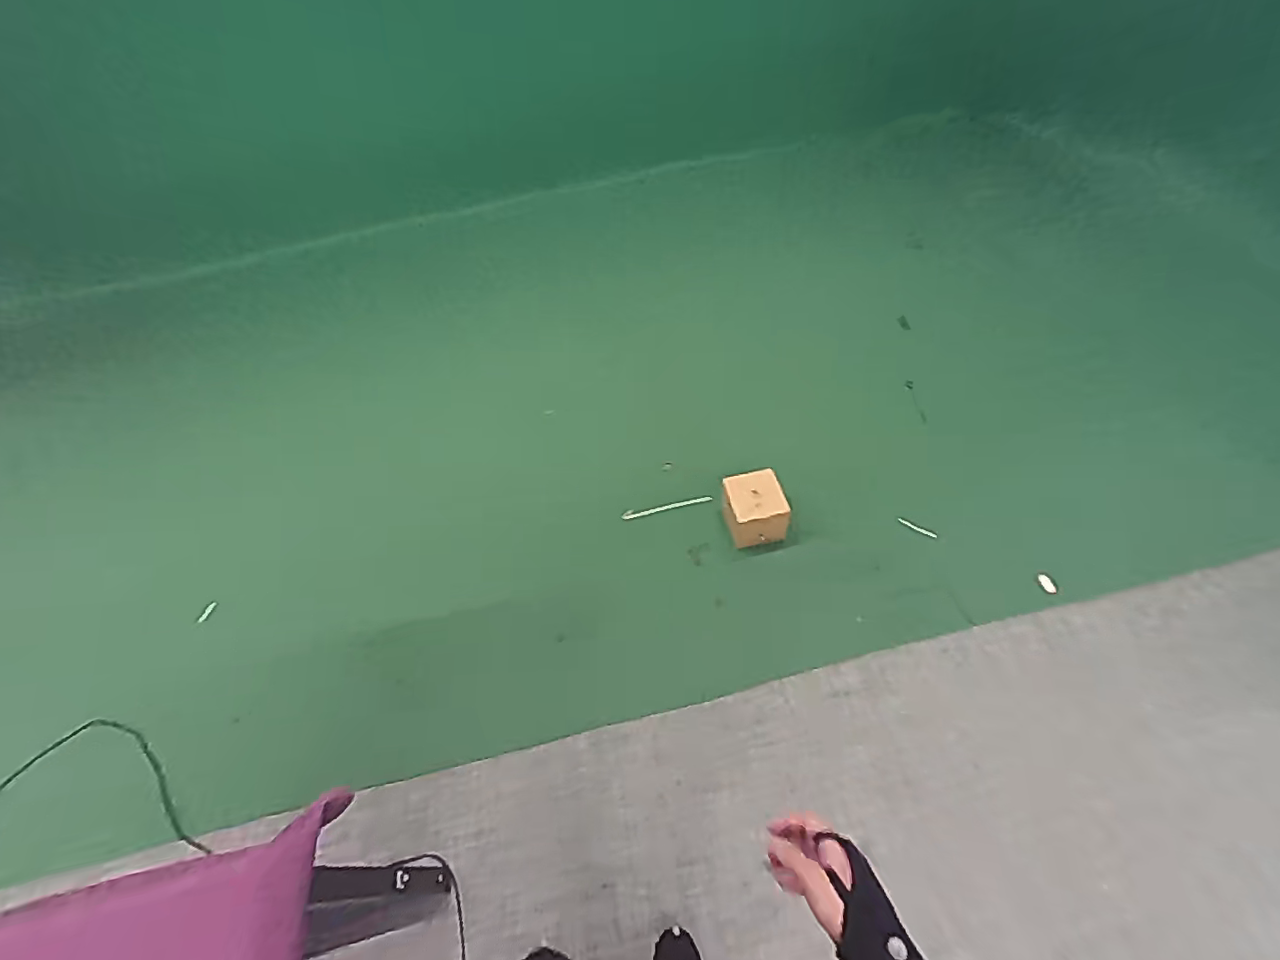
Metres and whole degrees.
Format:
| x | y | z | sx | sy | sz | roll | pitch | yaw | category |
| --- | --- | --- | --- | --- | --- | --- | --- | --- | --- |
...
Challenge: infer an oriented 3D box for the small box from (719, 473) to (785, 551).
| x | y | z | sx | sy | sz | roll | pitch | yaw | category |
| --- | --- | --- | --- | --- | --- | --- | --- | --- | --- |
| 0.358 | 0.107 | 1.766 | 0.168 | 0.176 | 0.179 | -12 | 53 | -3 | small box |
